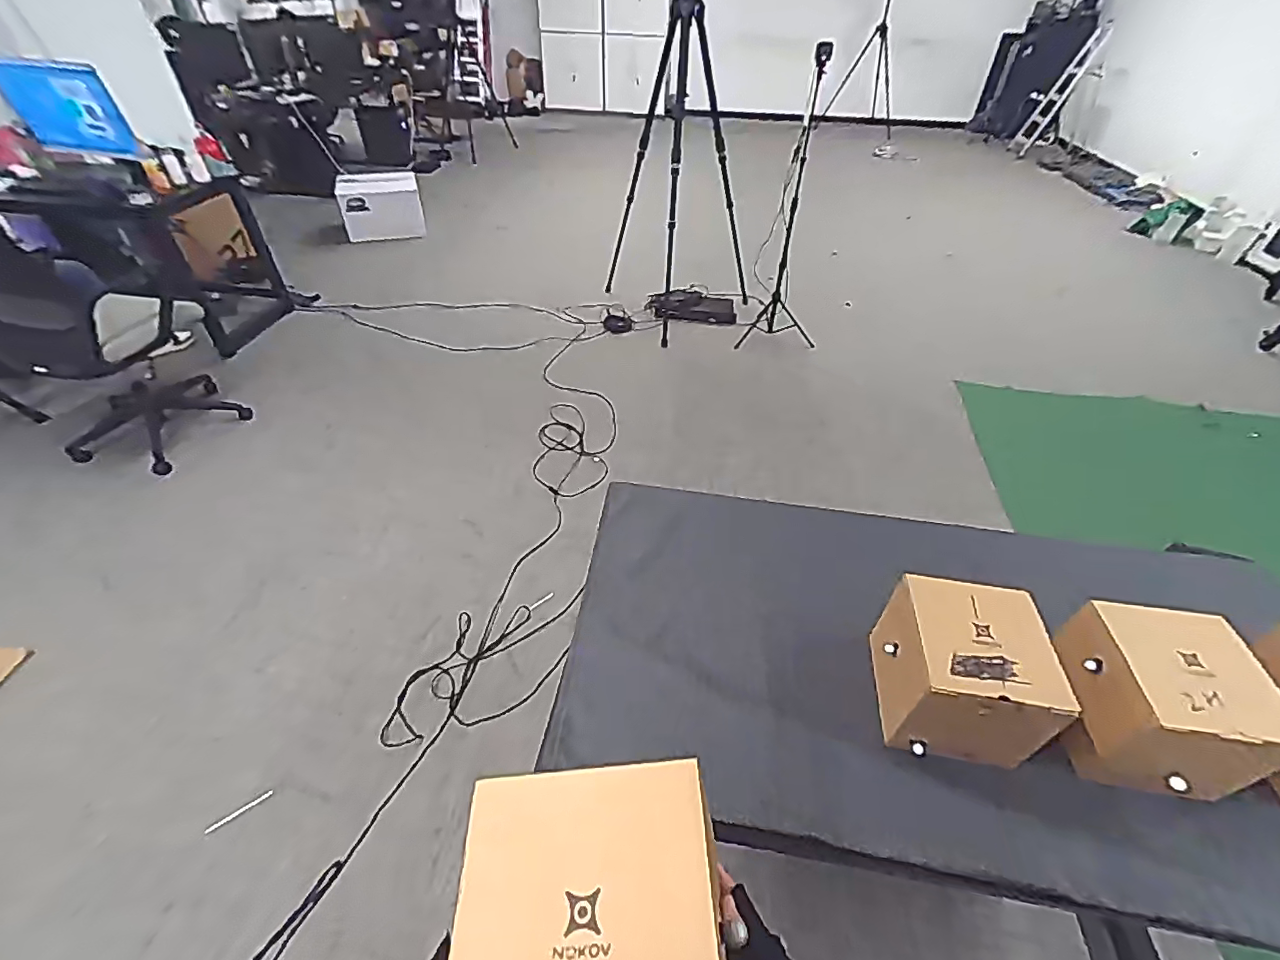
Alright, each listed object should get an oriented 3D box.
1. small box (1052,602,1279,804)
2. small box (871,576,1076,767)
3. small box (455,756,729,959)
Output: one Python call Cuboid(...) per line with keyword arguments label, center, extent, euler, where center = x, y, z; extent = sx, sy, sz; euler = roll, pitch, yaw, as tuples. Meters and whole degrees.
Cuboid(label="small box", center=(0.670, 0.291, 0.711), extent=(0.168, 0.176, 0.179), euler=(7, 42, 6))
Cuboid(label="small box", center=(0.431, 0.261, 0.736), extent=(0.168, 0.176, 0.179), euler=(8, 42, 7))
Cuboid(label="small box", center=(-0.022, 0.324, 0.389), extent=(0.168, 0.176, 0.179), euler=(-7, 46, 3))
